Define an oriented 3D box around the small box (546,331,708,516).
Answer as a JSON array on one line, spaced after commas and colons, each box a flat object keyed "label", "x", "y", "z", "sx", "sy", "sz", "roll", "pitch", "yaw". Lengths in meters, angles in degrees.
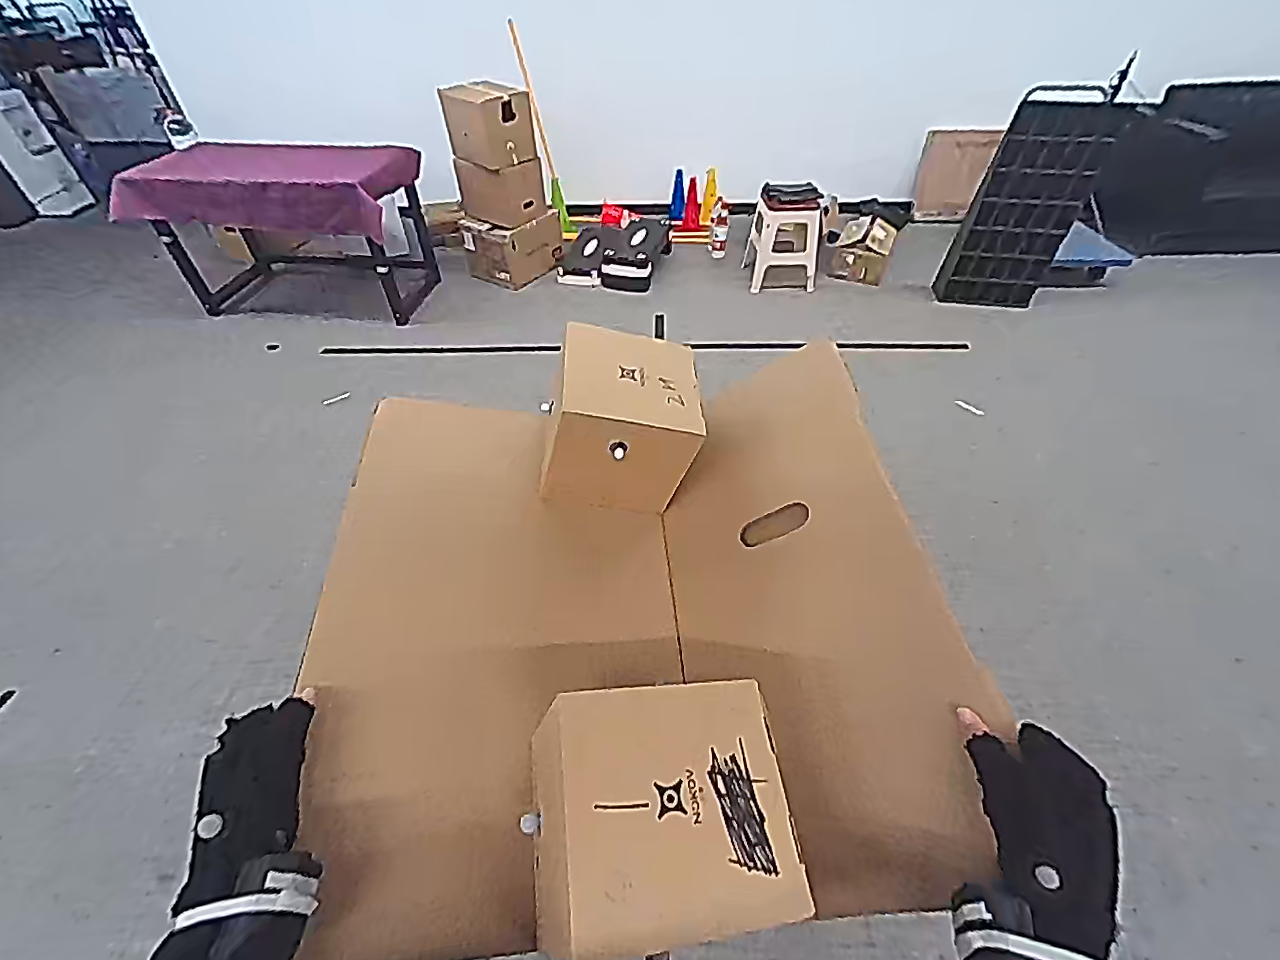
[{"label": "small box", "x": -0.026, "y": -0.068, "z": 0.729, "sx": 0.179, "sy": 0.176, "sz": 0.168, "roll": 9, "pitch": 51, "yaw": -14}]
